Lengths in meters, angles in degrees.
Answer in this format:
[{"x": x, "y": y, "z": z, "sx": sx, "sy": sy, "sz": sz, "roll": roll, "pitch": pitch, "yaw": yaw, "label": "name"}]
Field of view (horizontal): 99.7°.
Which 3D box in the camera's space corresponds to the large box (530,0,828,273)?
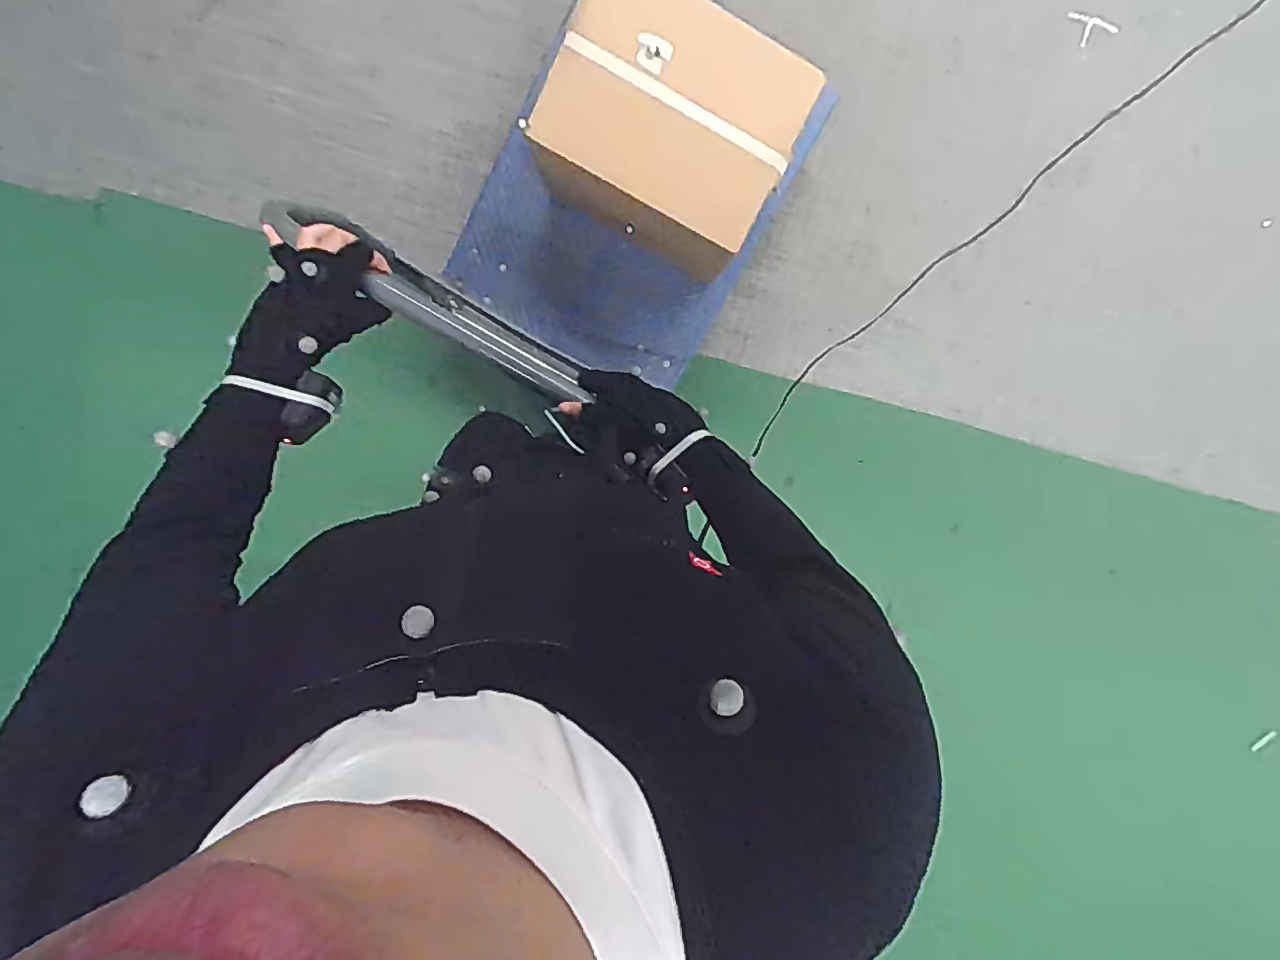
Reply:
[{"x": 0.063, "y": -0.648, "z": 1.025, "sx": 0.408, "sy": 0.320, "sz": 0.320, "roll": 27, "pitch": 99, "yaw": -5, "label": "large box"}]
